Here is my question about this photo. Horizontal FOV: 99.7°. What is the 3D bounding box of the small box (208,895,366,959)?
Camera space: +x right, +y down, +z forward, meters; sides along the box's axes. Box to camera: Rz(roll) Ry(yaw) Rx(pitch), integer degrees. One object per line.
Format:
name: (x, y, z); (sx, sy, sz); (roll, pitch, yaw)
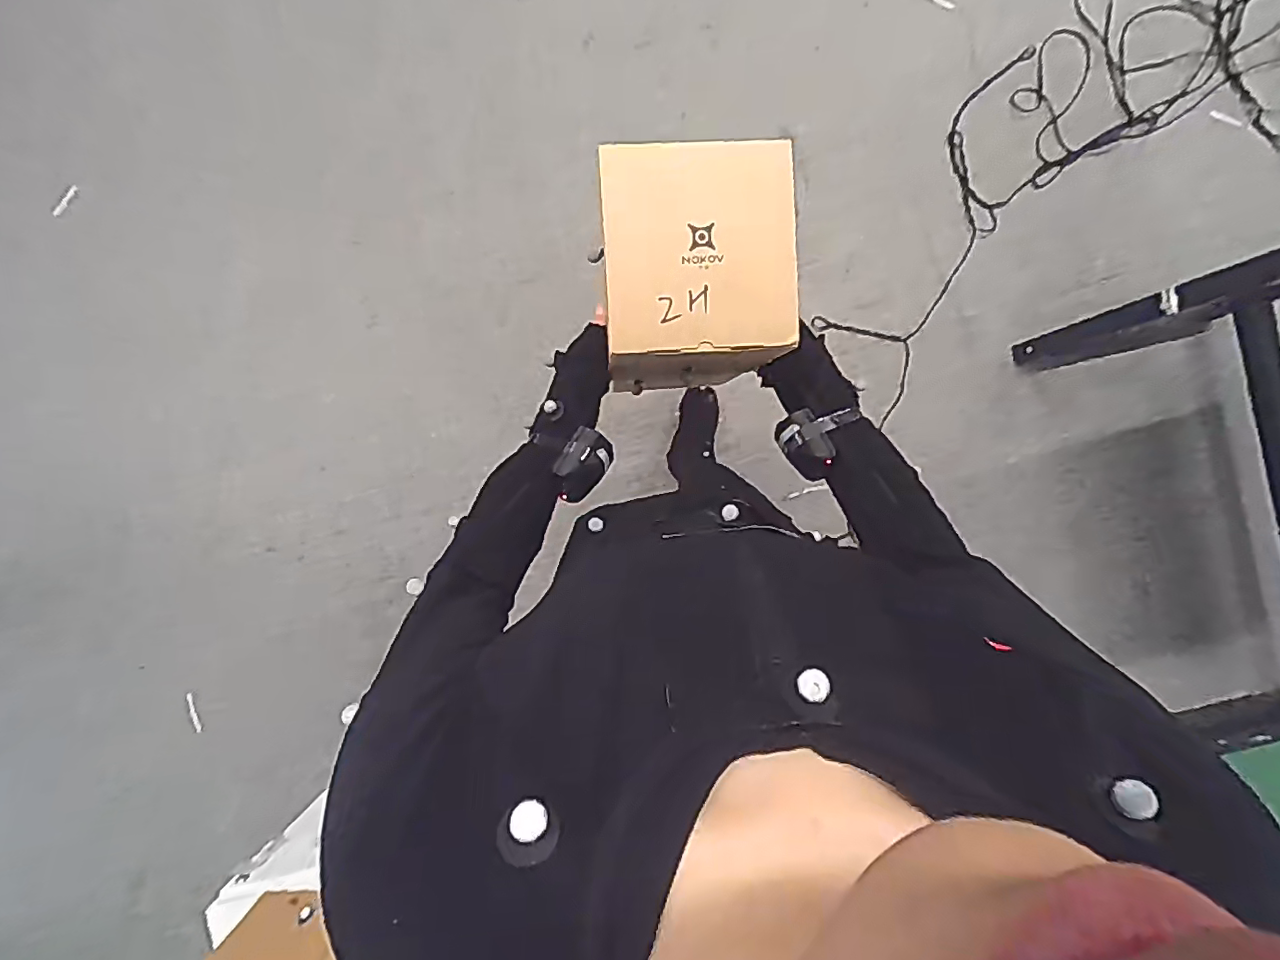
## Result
small box: (-0.509, 0.739, 0.767); (0.168, 0.176, 0.179); (-1, 90, -1)

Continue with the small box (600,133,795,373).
small box: (0.045, -0.209, 0.538); (0.168, 0.176, 0.179); (-3, 93, -3)
